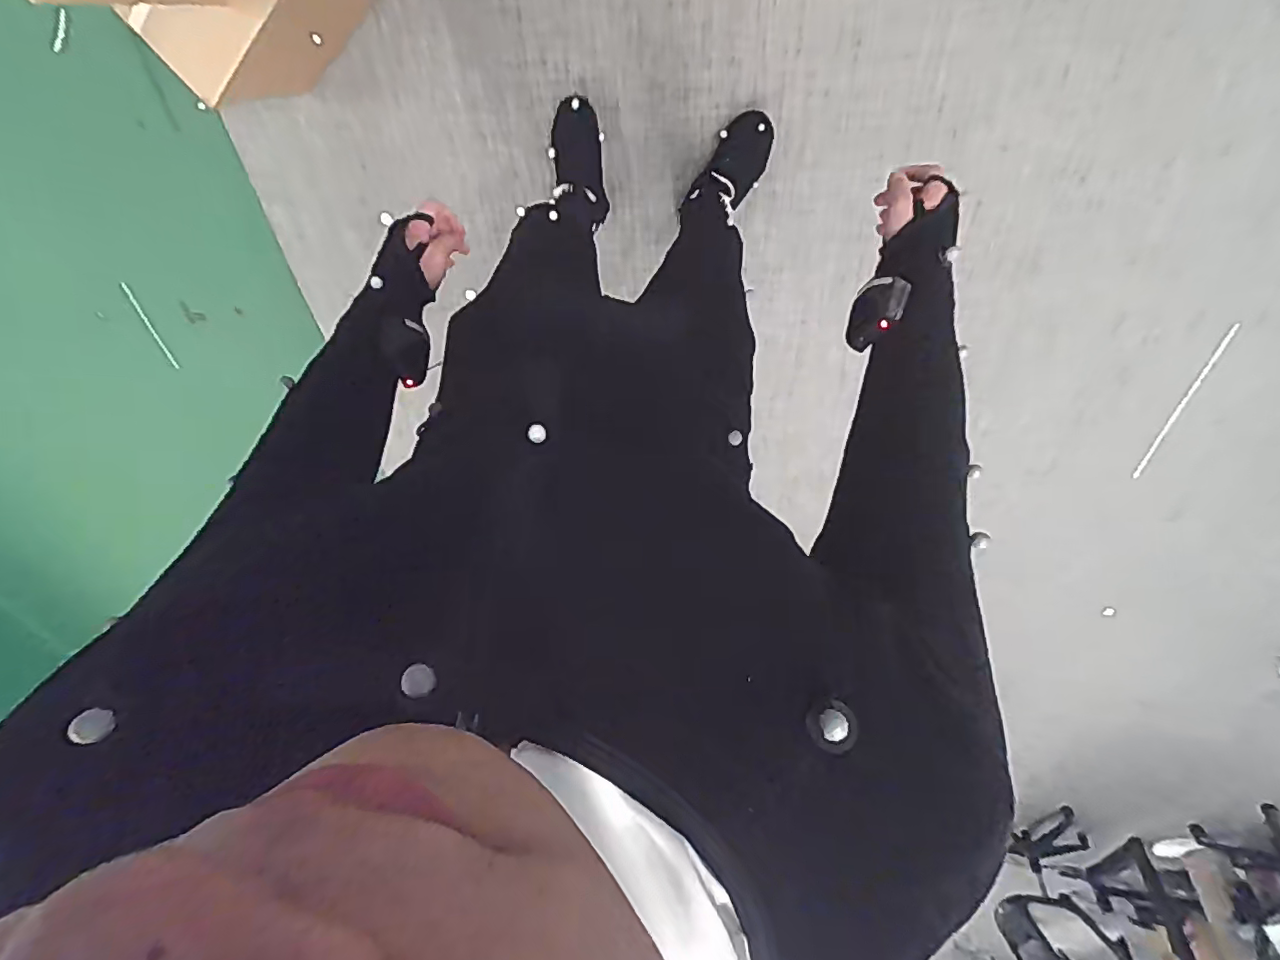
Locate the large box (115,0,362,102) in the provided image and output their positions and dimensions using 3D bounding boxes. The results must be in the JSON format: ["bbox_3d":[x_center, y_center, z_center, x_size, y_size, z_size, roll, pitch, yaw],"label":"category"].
[{"bbox_3d":[-0.759,-1.026,1.024,0.408,0.320,0.320,-23,121,30],"label":"large box"}]
